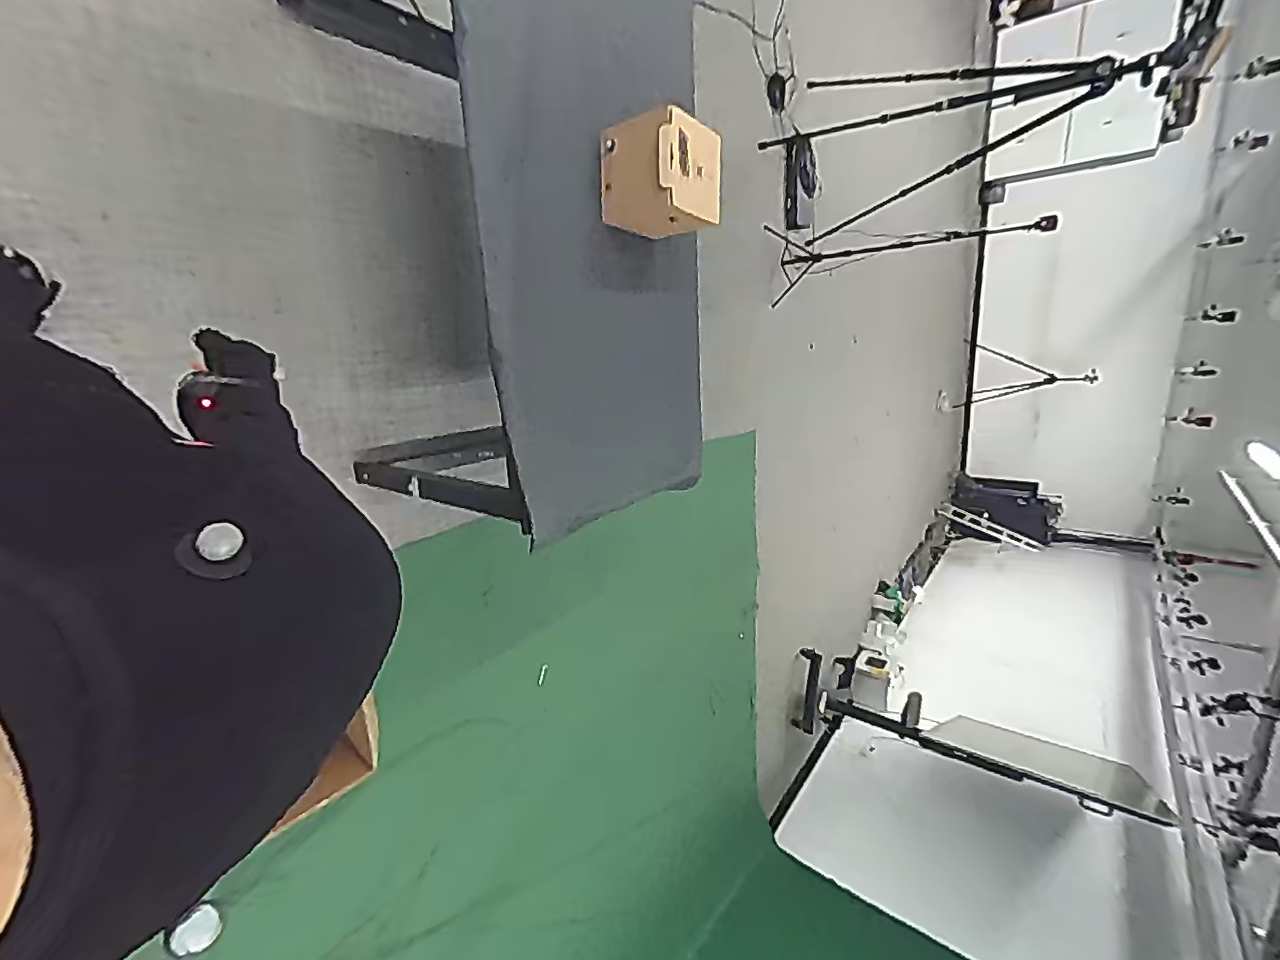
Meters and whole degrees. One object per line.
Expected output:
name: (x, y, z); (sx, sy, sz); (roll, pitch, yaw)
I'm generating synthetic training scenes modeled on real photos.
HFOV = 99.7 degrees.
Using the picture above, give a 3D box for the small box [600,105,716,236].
small box: (0.034, -0.593, 1.065); (0.179, 0.176, 0.168); (-14, 108, -50)
